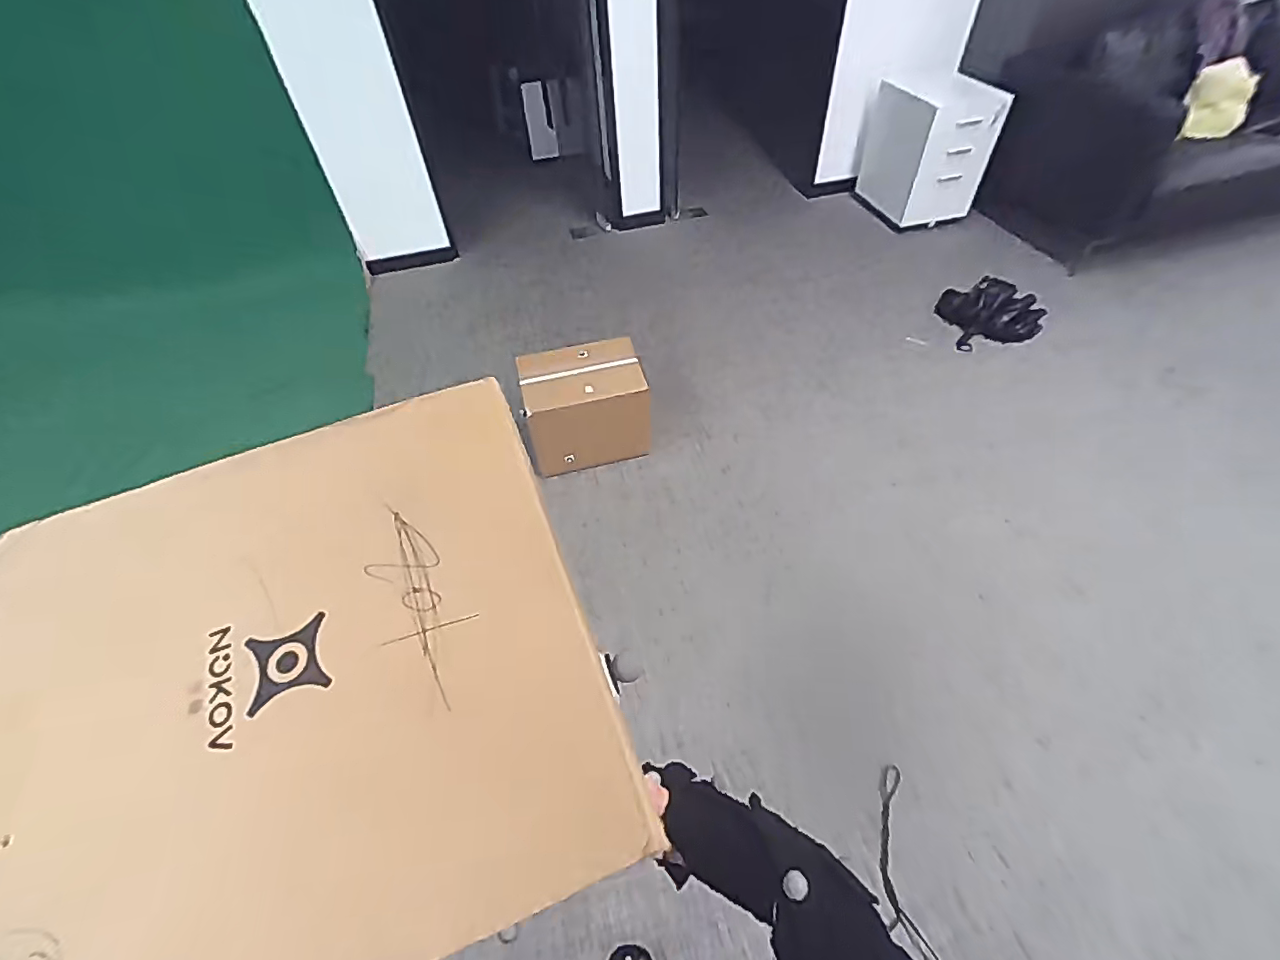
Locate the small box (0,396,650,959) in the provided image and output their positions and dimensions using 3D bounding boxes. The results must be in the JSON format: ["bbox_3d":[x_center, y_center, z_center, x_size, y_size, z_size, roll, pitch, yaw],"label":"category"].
[{"bbox_3d":[-0.102,0.099,0.233,0.179,0.176,0.168,-20,62,-11],"label":"small box"}]
